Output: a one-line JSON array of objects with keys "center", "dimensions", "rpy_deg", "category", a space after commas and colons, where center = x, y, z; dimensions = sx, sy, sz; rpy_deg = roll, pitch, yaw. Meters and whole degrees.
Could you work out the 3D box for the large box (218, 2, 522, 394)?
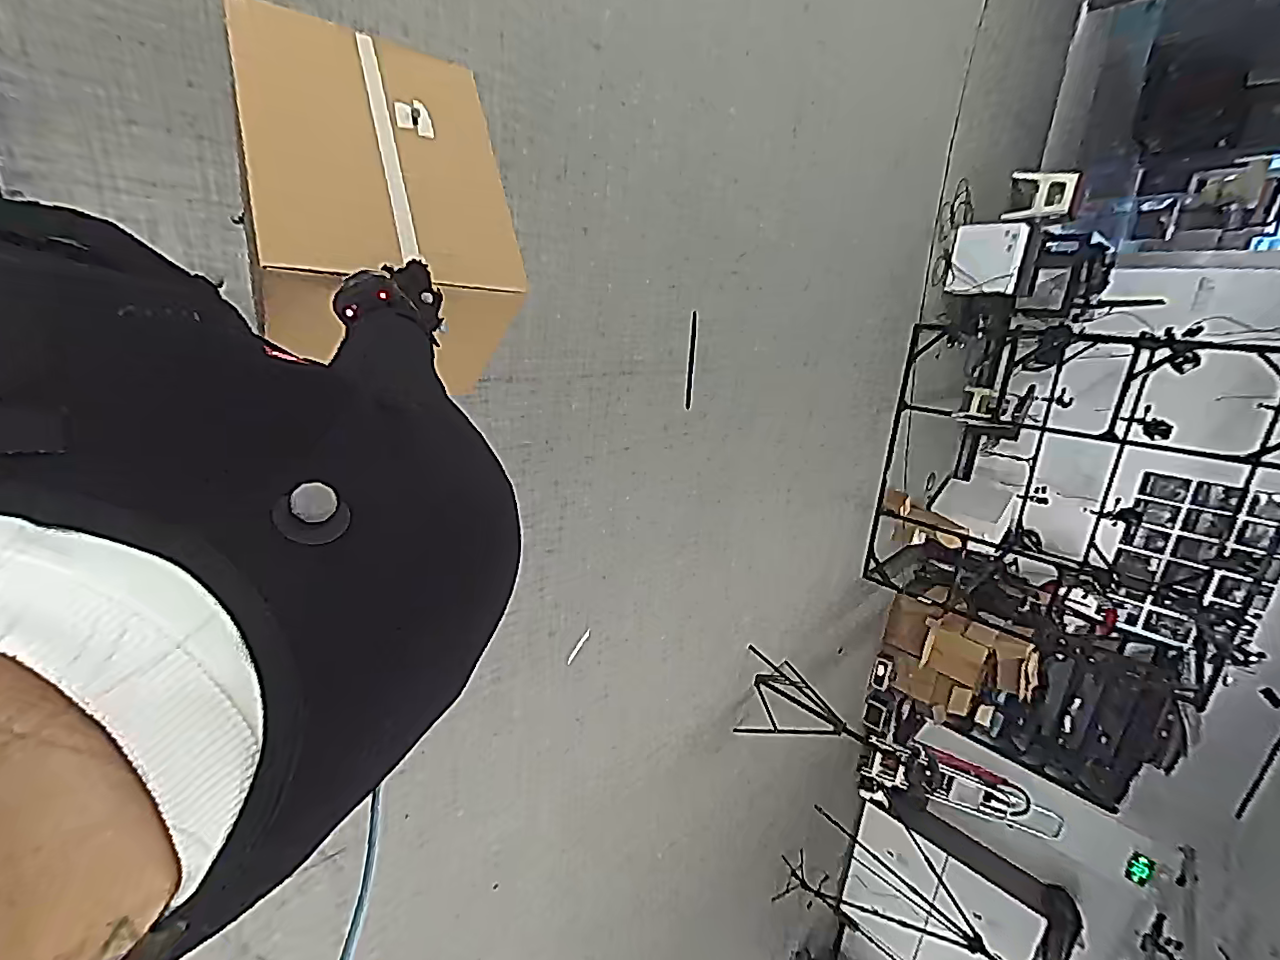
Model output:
[{"center": [-0.425, -0.382, 0.839], "dimensions": [0.320, 0.320, 0.408], "rpy_deg": [-8, 73, -37], "category": "large box"}]
